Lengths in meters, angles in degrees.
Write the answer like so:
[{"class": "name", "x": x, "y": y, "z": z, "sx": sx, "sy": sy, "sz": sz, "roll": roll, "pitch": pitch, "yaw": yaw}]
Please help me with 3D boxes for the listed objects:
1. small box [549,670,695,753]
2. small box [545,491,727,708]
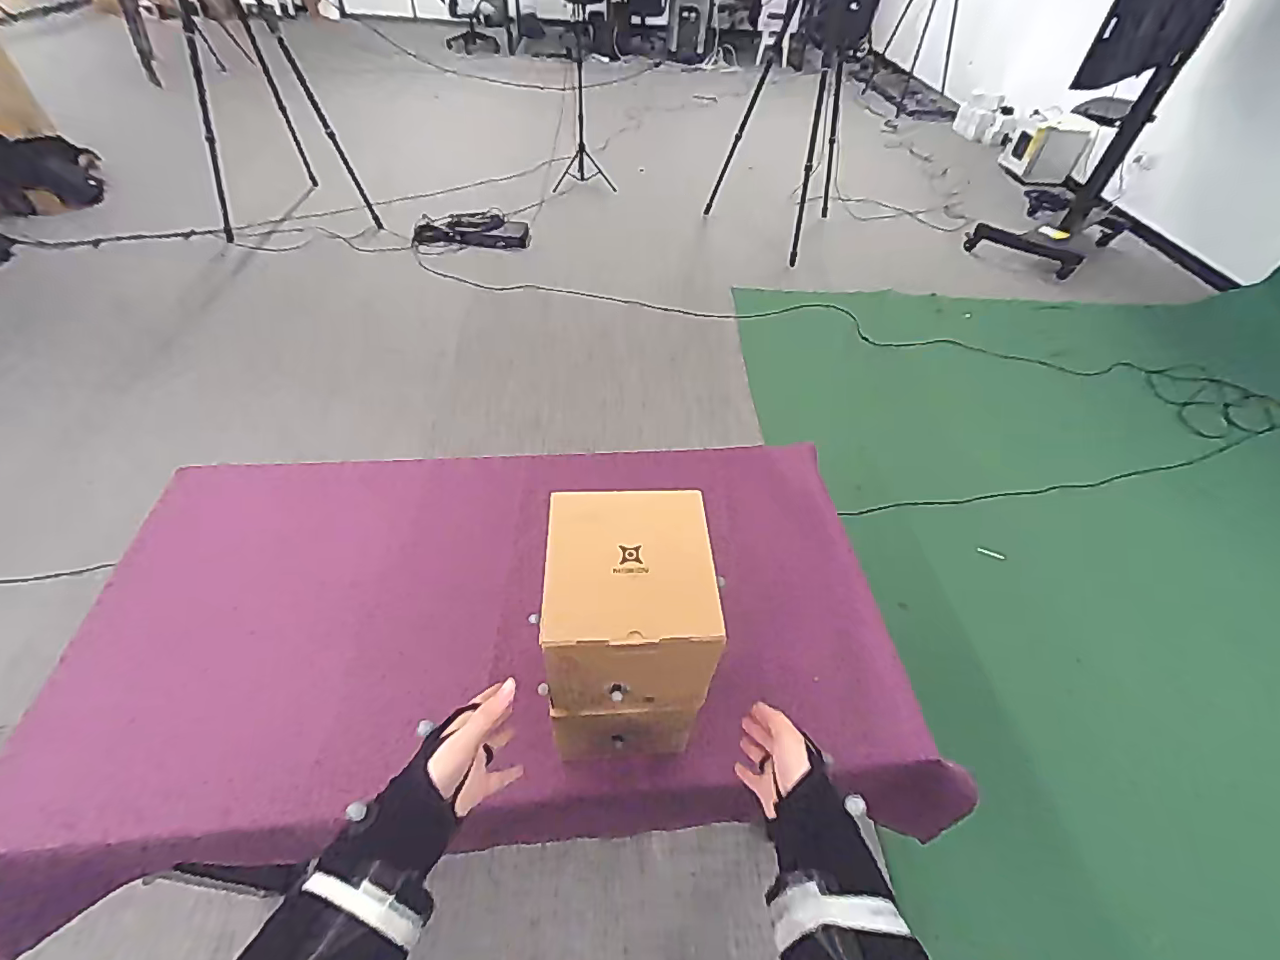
[{"class": "small box", "x": -0.027, "y": 0.244, "z": 0.707, "sx": 0.168, "sy": 0.176, "sz": 0.179, "roll": -1, "pitch": 48, "yaw": -5}, {"class": "small box", "x": -0.013, "y": 0.130, "z": 0.591, "sx": 0.168, "sy": 0.176, "sz": 0.179, "roll": -1, "pitch": 50, "yaw": -5}]
